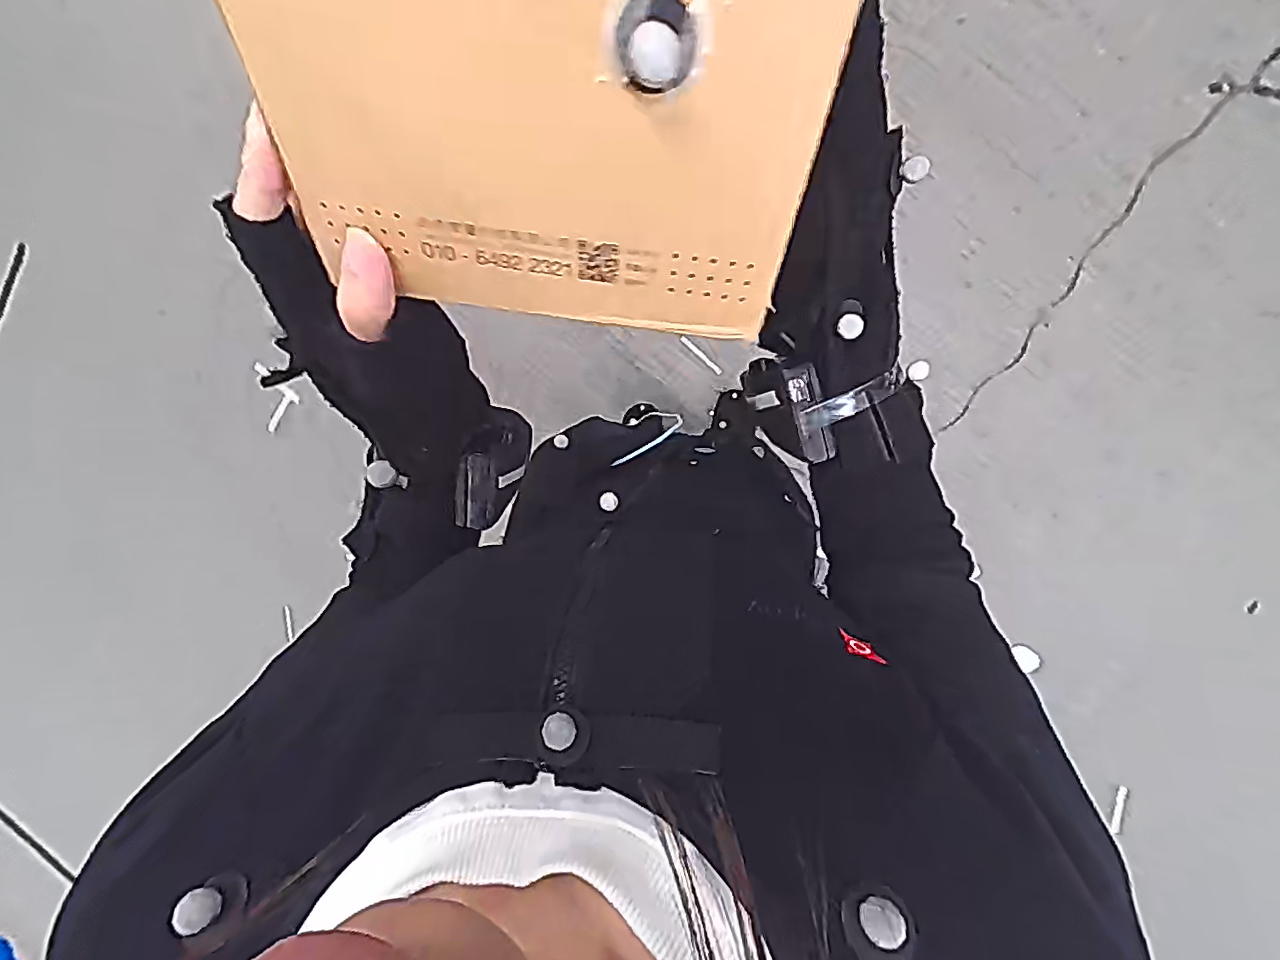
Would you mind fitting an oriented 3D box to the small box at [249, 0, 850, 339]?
[{"bbox_3d":[-0.019,-0.175,0.204,0.168,0.179,0.176,7,141,0],"label":"small box"}]
